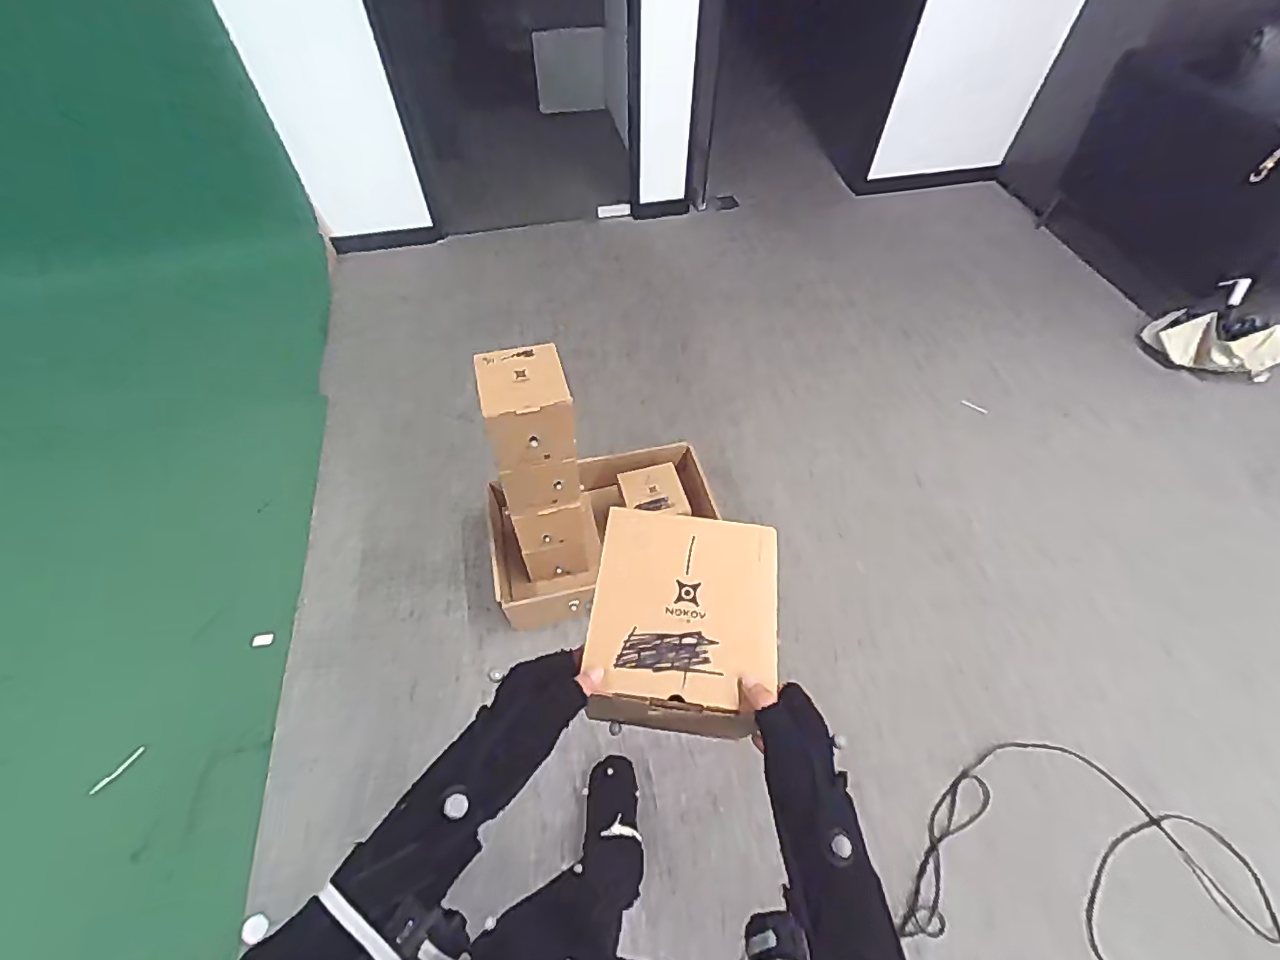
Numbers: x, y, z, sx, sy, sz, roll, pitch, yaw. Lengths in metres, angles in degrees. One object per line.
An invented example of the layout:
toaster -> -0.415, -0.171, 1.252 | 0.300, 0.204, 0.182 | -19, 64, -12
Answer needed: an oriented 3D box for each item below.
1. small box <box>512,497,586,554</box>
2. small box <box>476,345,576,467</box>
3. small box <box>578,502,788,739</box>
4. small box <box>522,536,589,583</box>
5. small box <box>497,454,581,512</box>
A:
small box -> -0.233, 0.059, 1.355 | 0.168, 0.176, 0.179 | -10, 55, -9
small box -> -0.228, -0.143, 1.097 | 0.168, 0.176, 0.179 | -11, 55, -11
small box -> 0.041, 0.149, 0.546 | 0.168, 0.176, 0.179 | 11, 59, 2
small box -> -0.236, 0.158, 1.484 | 0.168, 0.176, 0.179 | -10, 54, -8
small box -> -0.233, -0.042, 1.227 | 0.168, 0.176, 0.179 | -11, 54, -11
